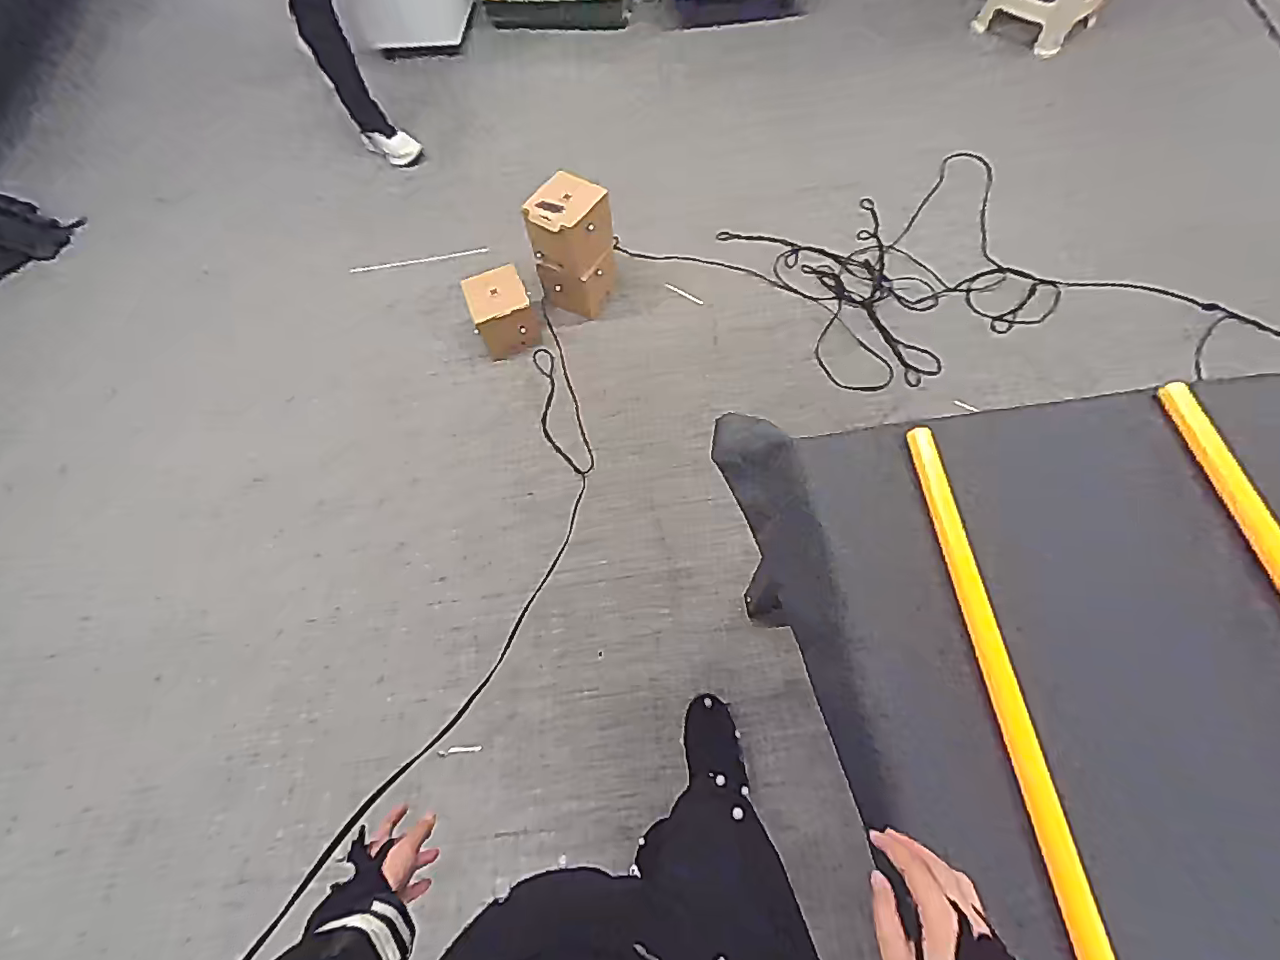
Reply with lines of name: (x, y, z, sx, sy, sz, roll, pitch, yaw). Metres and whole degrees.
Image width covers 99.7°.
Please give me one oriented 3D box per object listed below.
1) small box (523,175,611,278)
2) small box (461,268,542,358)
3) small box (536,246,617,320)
small box: (-0.194, -0.700, 1.509, 0.168, 0.176, 0.179, 30, 69, 15)
small box: (-0.407, -0.488, 1.610, 0.168, 0.176, 0.179, -22, 65, -7)
small box: (-0.187, -0.620, 1.653, 0.179, 0.176, 0.168, 25, 69, 14)
